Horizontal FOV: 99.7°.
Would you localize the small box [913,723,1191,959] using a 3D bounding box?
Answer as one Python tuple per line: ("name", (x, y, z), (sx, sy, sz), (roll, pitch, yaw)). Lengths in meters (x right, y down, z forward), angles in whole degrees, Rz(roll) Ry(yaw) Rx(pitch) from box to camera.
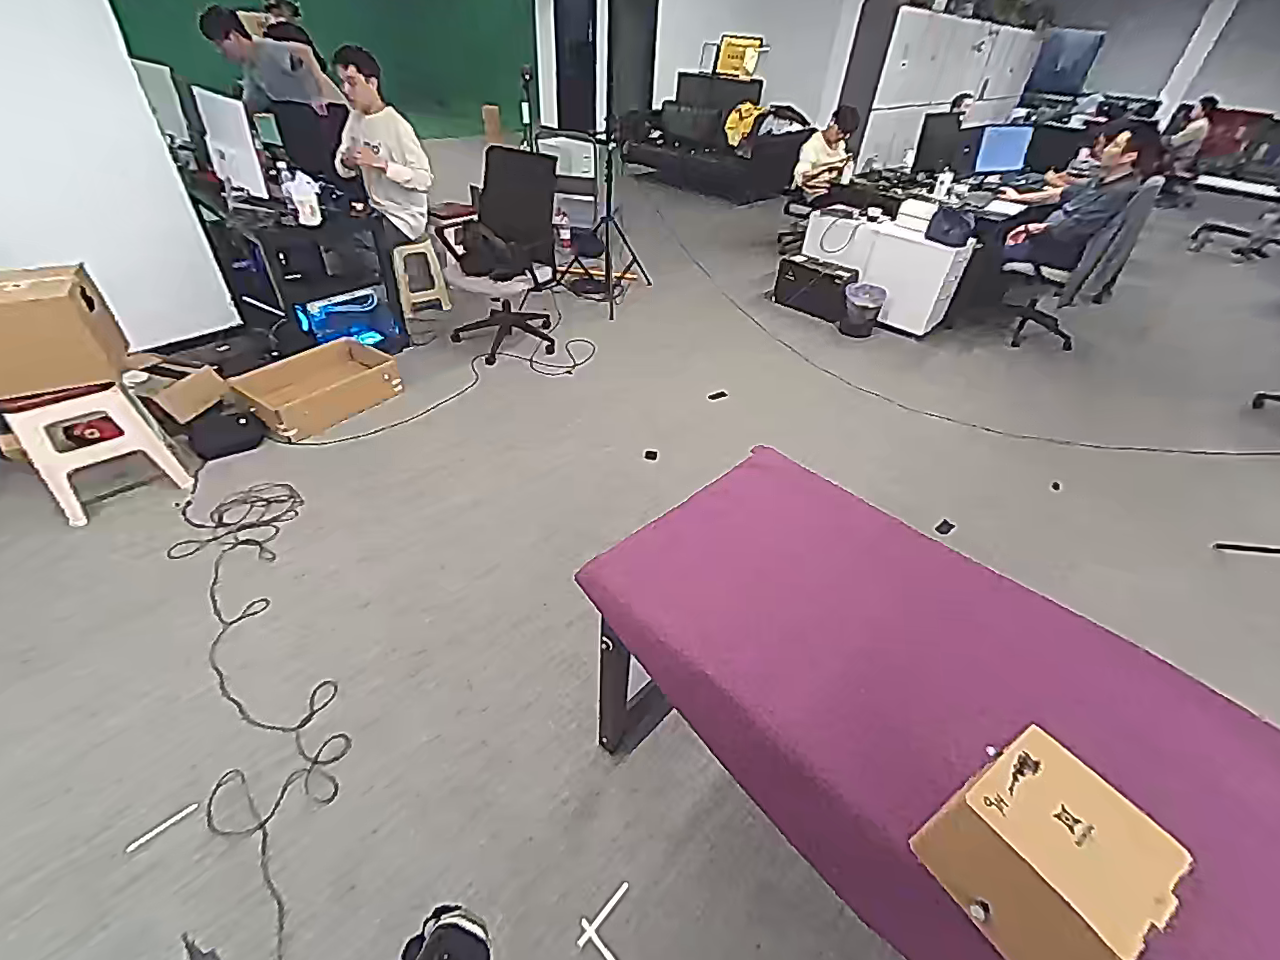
("small box", (0.475, 0.441, 0.650), (0.168, 0.176, 0.179), (-20, 46, -27))
